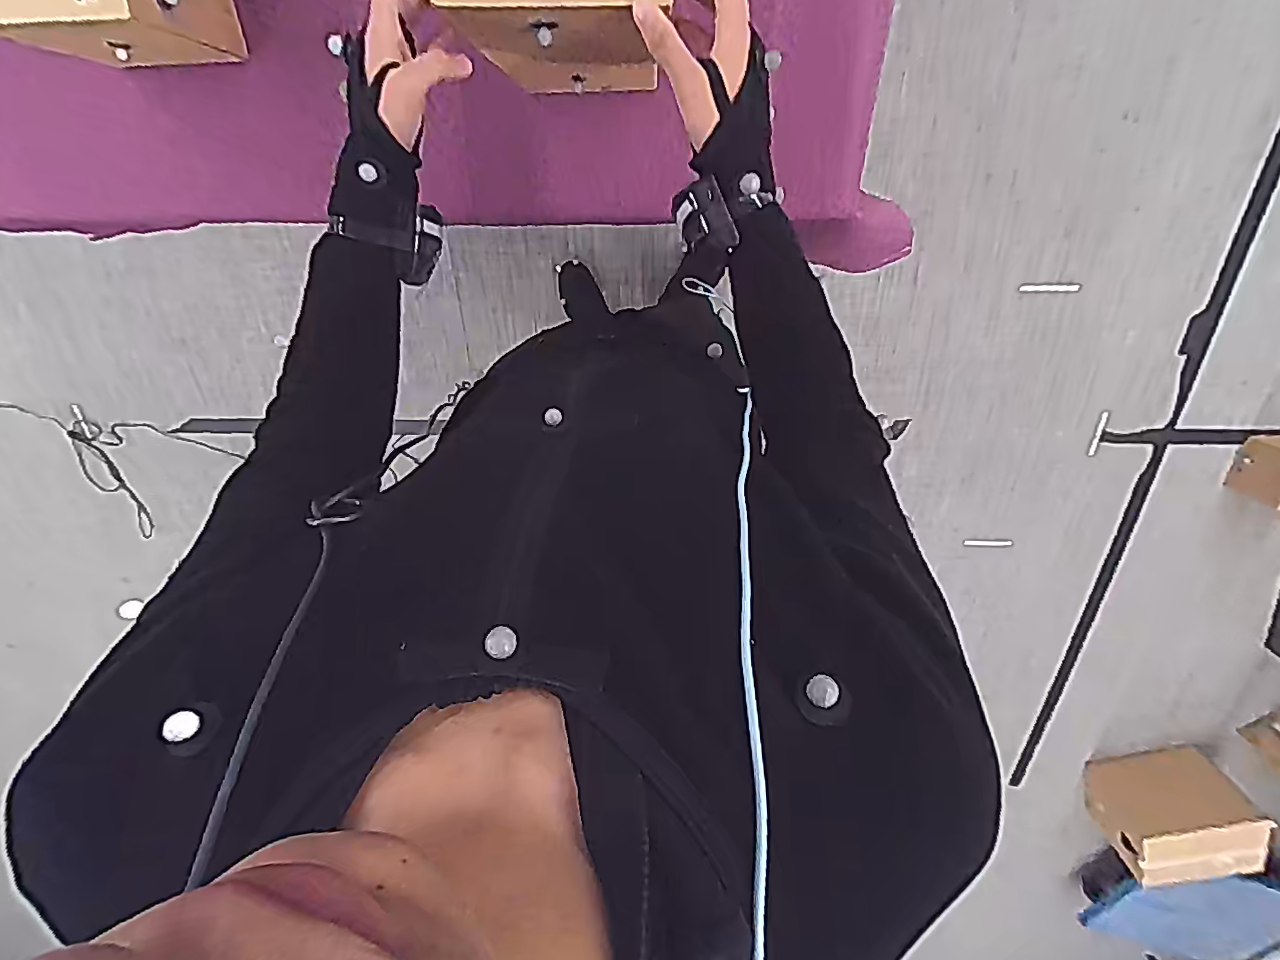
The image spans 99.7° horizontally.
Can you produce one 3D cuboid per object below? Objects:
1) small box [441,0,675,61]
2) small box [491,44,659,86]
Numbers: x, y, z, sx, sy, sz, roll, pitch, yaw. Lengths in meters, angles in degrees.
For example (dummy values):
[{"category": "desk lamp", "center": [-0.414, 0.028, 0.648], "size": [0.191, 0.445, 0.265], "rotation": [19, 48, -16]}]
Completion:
[{"category": "small box", "center": [-0.058, -0.451, 0.426], "size": [0.179, 0.176, 0.168], "rotation": [1, 117, 1]}, {"category": "small box", "center": [-0.062, -0.533, 0.568], "size": [0.168, 0.176, 0.179], "rotation": [1, 116, 2]}]
